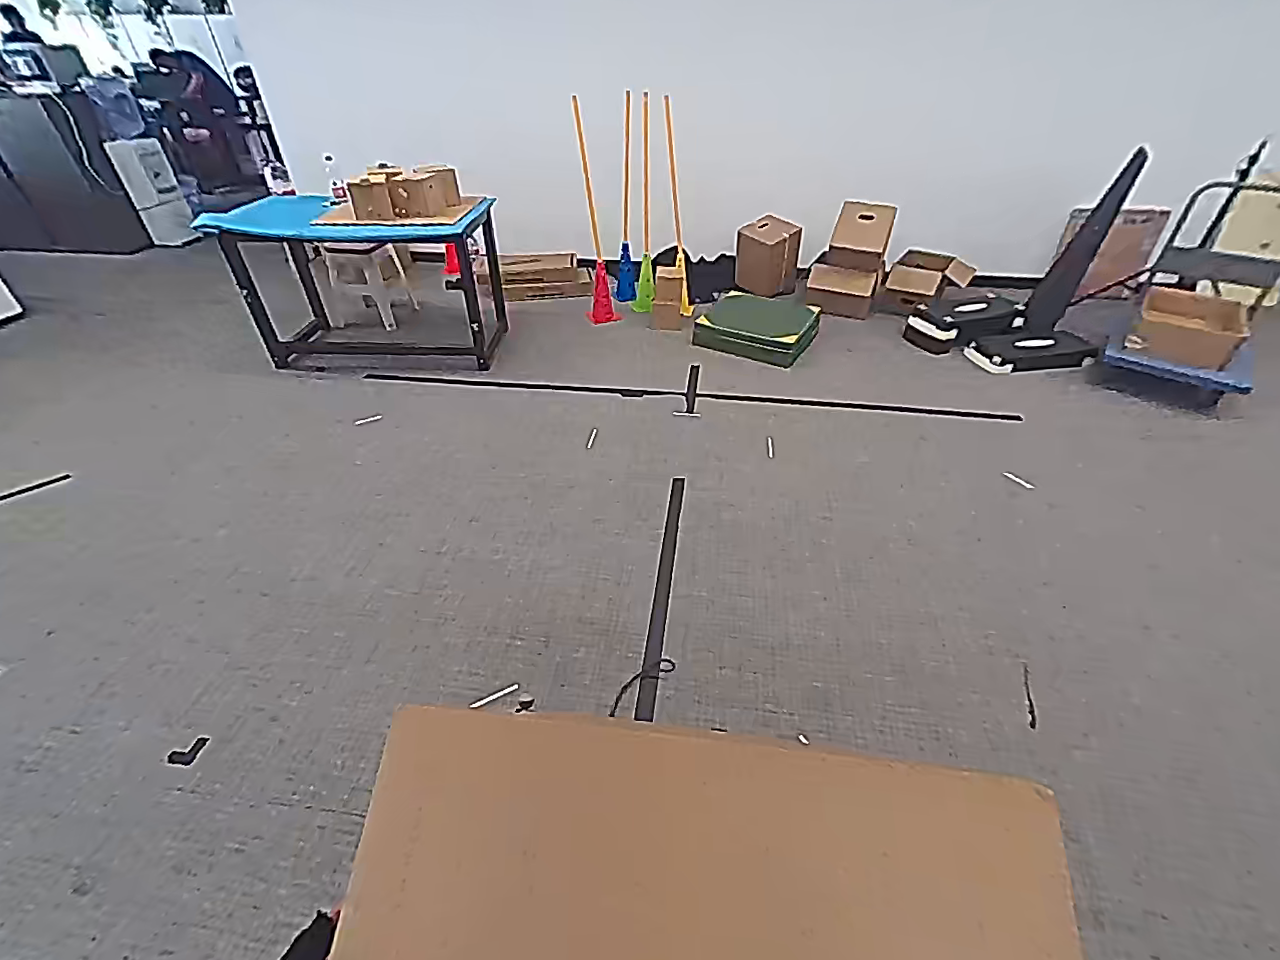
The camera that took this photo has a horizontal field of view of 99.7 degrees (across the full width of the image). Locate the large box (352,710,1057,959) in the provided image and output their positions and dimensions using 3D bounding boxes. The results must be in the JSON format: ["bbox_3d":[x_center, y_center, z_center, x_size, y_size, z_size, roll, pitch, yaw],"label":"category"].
[{"bbox_3d":[0.036,0.370,0.425,0.408,0.320,0.320,3,67,10],"label":"large box"}]
